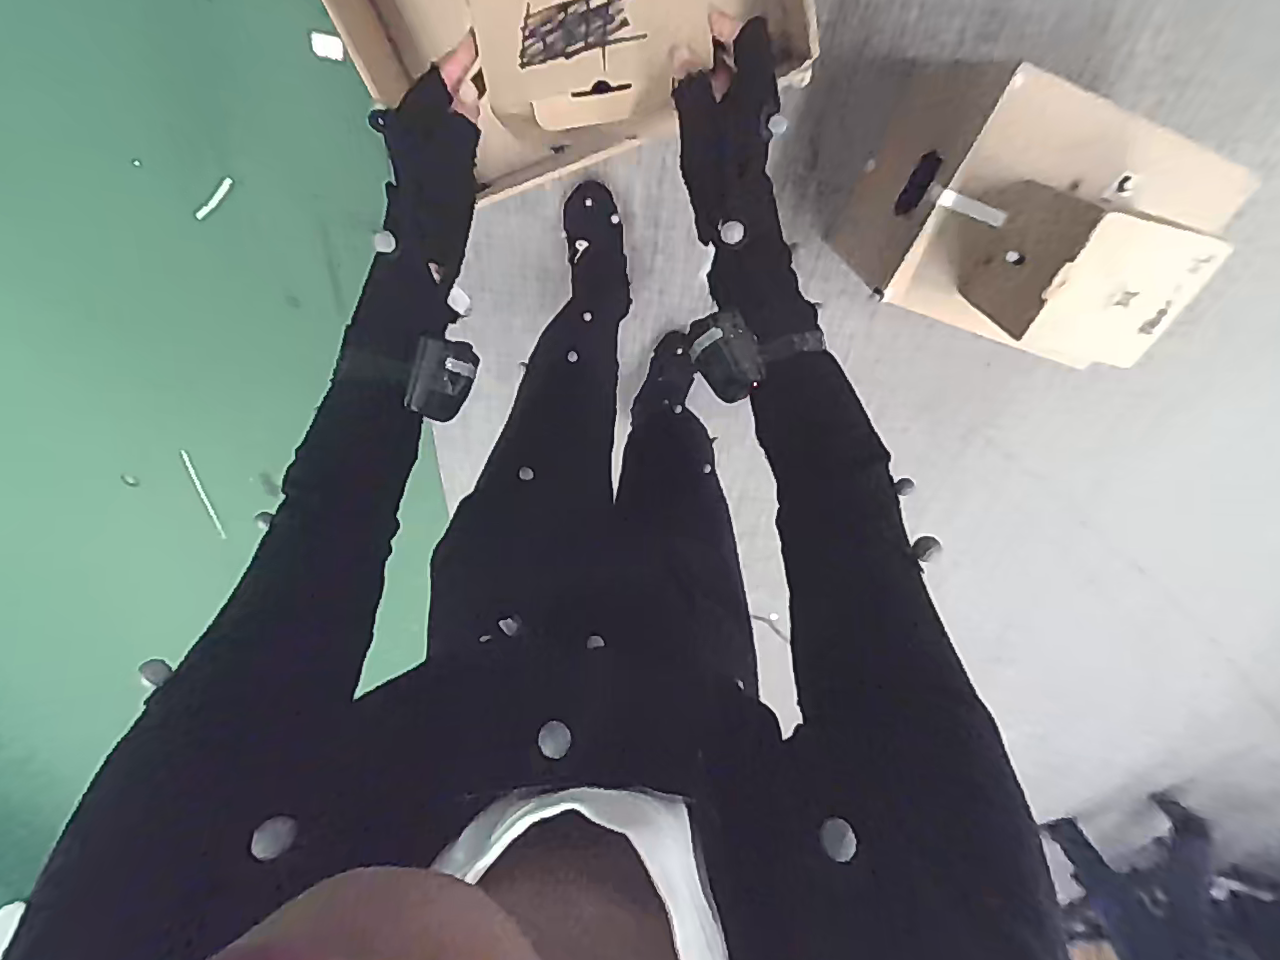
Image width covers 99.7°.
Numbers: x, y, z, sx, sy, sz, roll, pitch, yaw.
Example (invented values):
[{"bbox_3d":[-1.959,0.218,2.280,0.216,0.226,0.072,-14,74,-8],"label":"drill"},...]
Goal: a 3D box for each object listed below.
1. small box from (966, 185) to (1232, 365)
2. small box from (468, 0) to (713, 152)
[{"bbox_3d":[0.589,-0.280,0.727,0.179,0.176,0.168,10,129,-7],"label":"small box"},{"bbox_3d":[-0.037,-0.379,0.430,0.168,0.176,0.179,-8,111,3],"label":"small box"}]
